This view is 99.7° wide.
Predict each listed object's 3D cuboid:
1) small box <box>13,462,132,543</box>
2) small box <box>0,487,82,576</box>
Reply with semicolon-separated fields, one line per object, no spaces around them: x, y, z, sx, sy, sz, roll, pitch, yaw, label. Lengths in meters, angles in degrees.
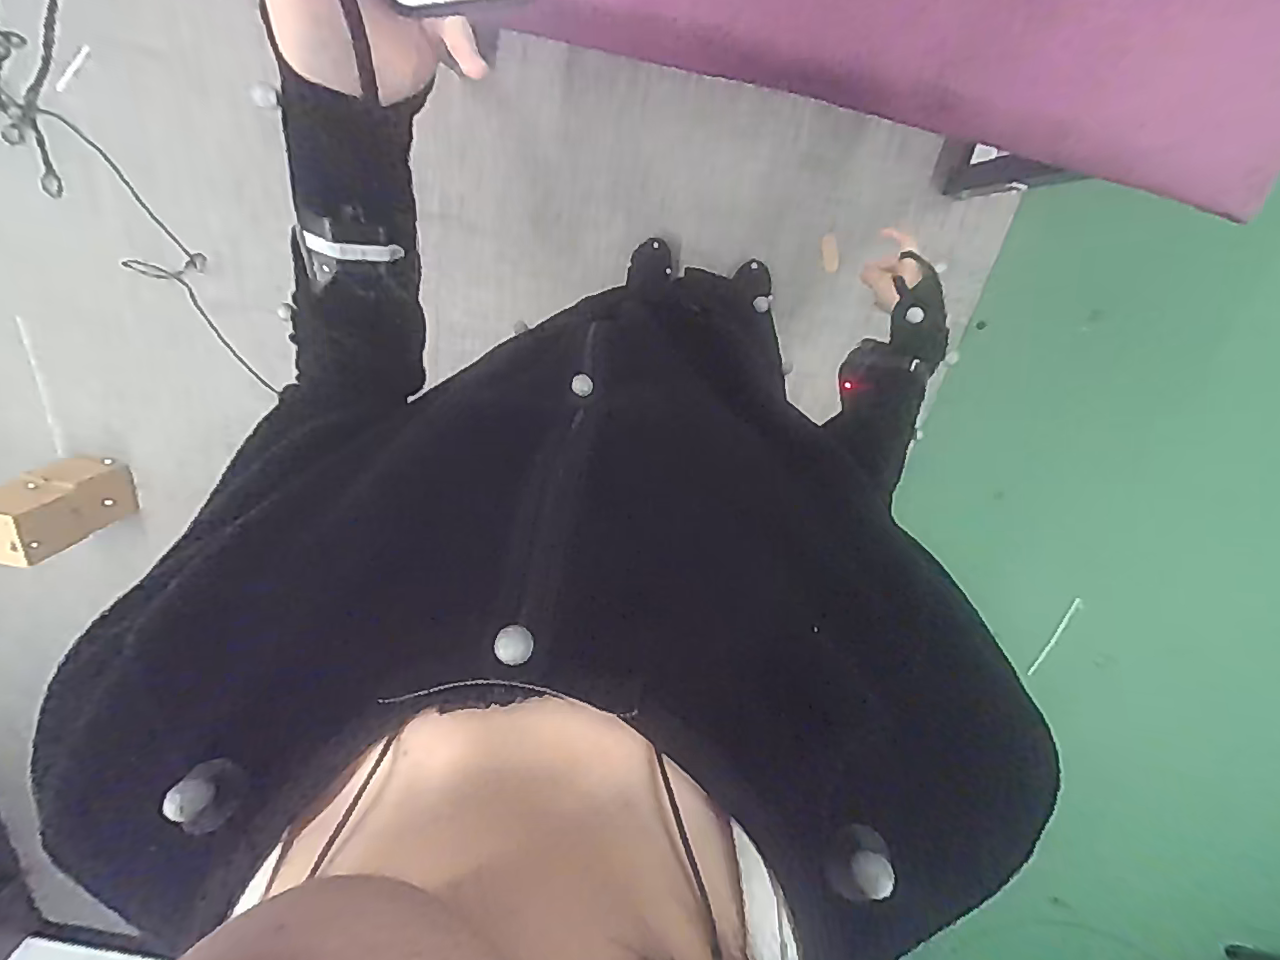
-1.696;0.063;1.629;0.168;0.176;0.179;11;114;0;small box
-1.708;0.133;1.481;0.179;0.176;0.168;12;114;0;small box
